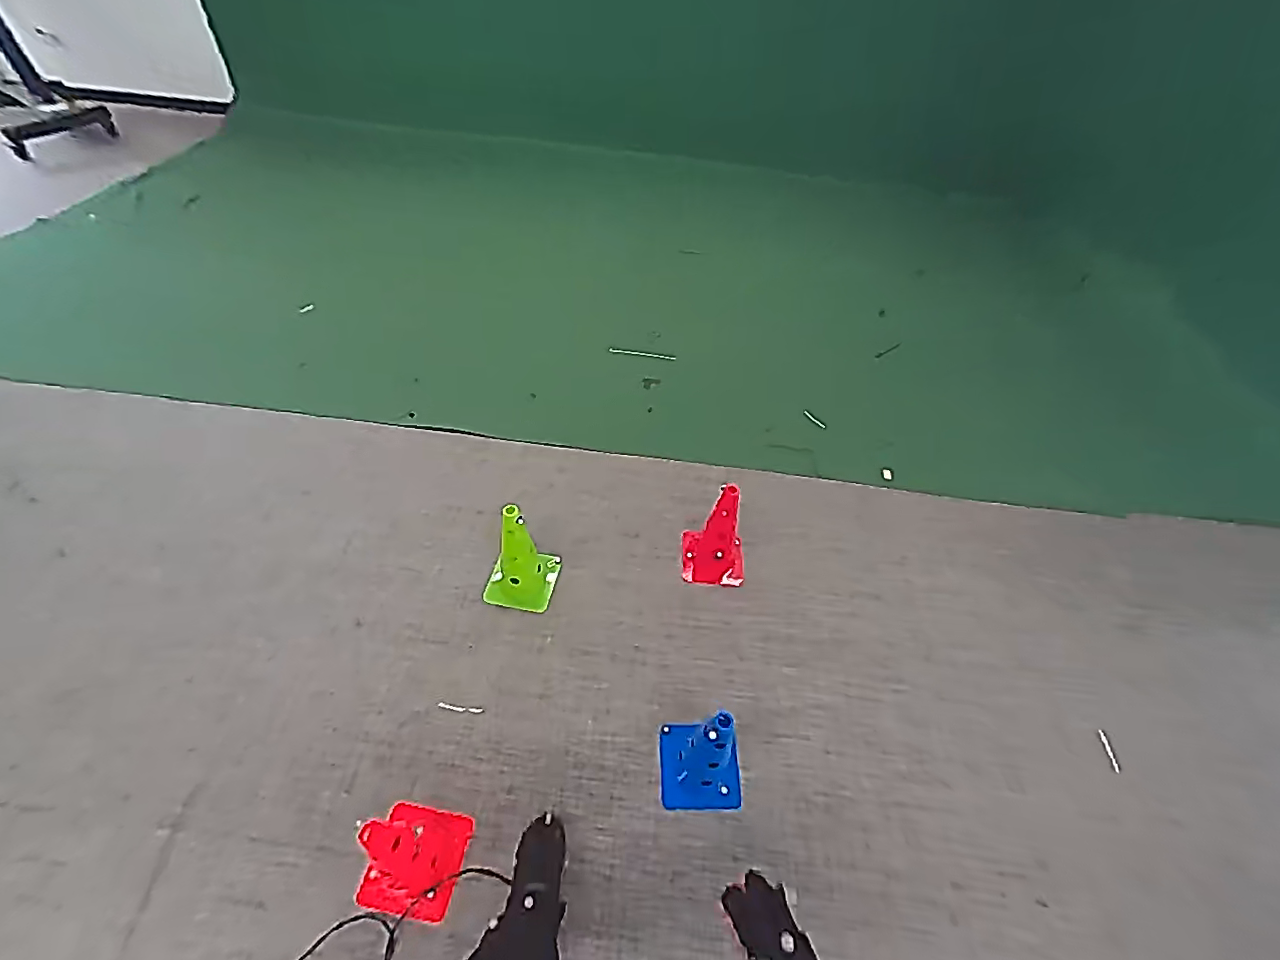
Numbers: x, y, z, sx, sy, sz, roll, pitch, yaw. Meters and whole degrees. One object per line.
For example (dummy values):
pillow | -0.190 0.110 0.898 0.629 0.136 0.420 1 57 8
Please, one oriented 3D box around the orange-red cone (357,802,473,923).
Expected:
orange-red cone | -0.481 0.728 1.075 0.198 0.360 0.199 11 47 4

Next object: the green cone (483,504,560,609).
green cone | -0.357 0.188 1.554 0.200 0.368 0.202 9 50 3
